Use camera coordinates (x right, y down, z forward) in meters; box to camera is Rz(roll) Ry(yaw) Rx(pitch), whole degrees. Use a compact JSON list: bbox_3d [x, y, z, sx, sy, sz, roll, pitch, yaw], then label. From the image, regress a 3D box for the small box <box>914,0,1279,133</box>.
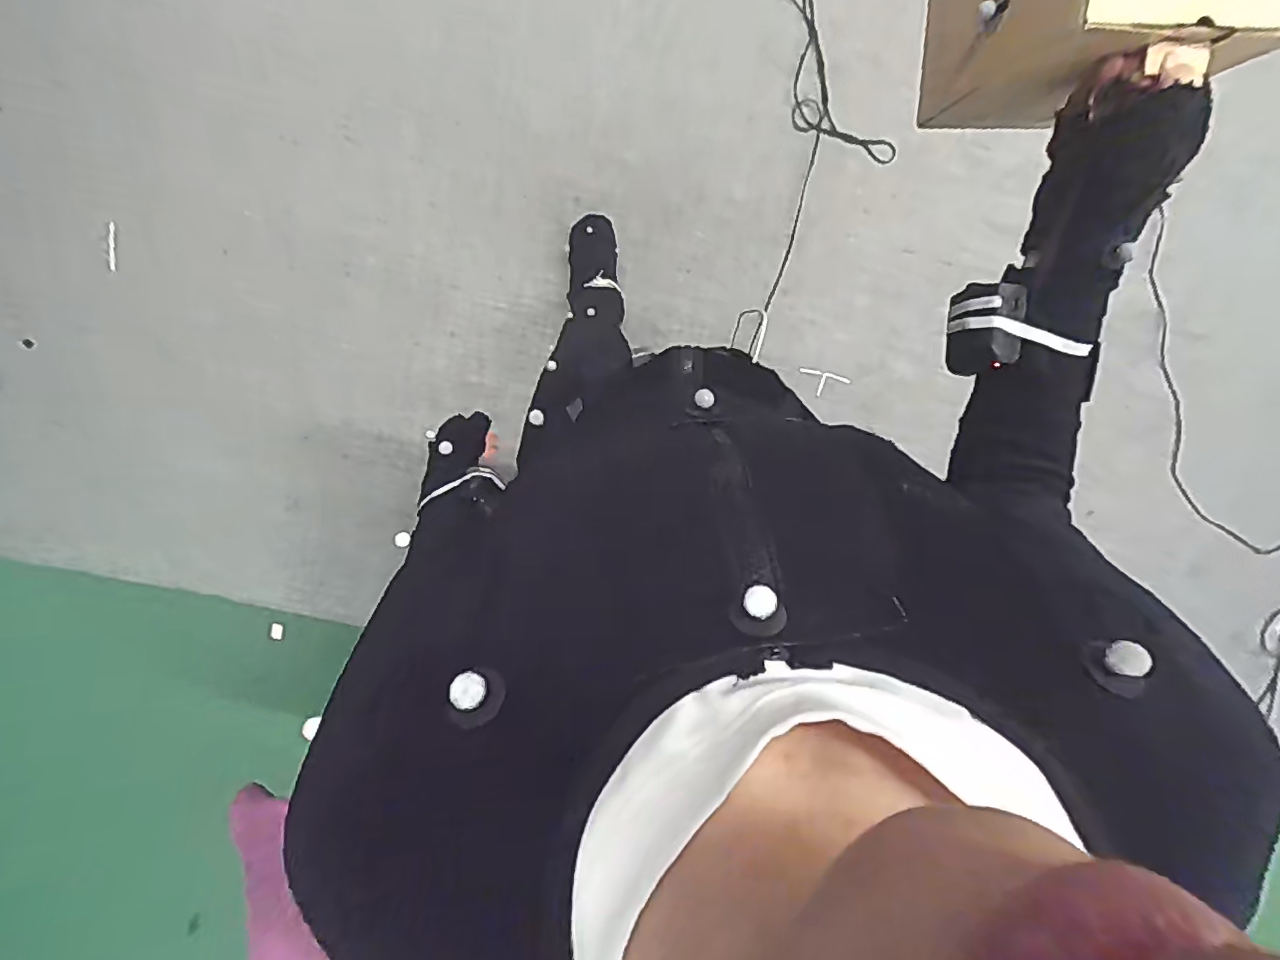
[{"bbox_3d":[0.327,-0.374,0.392,0.168,0.176,0.179,-3,105,-6],"label":"small box"}]
